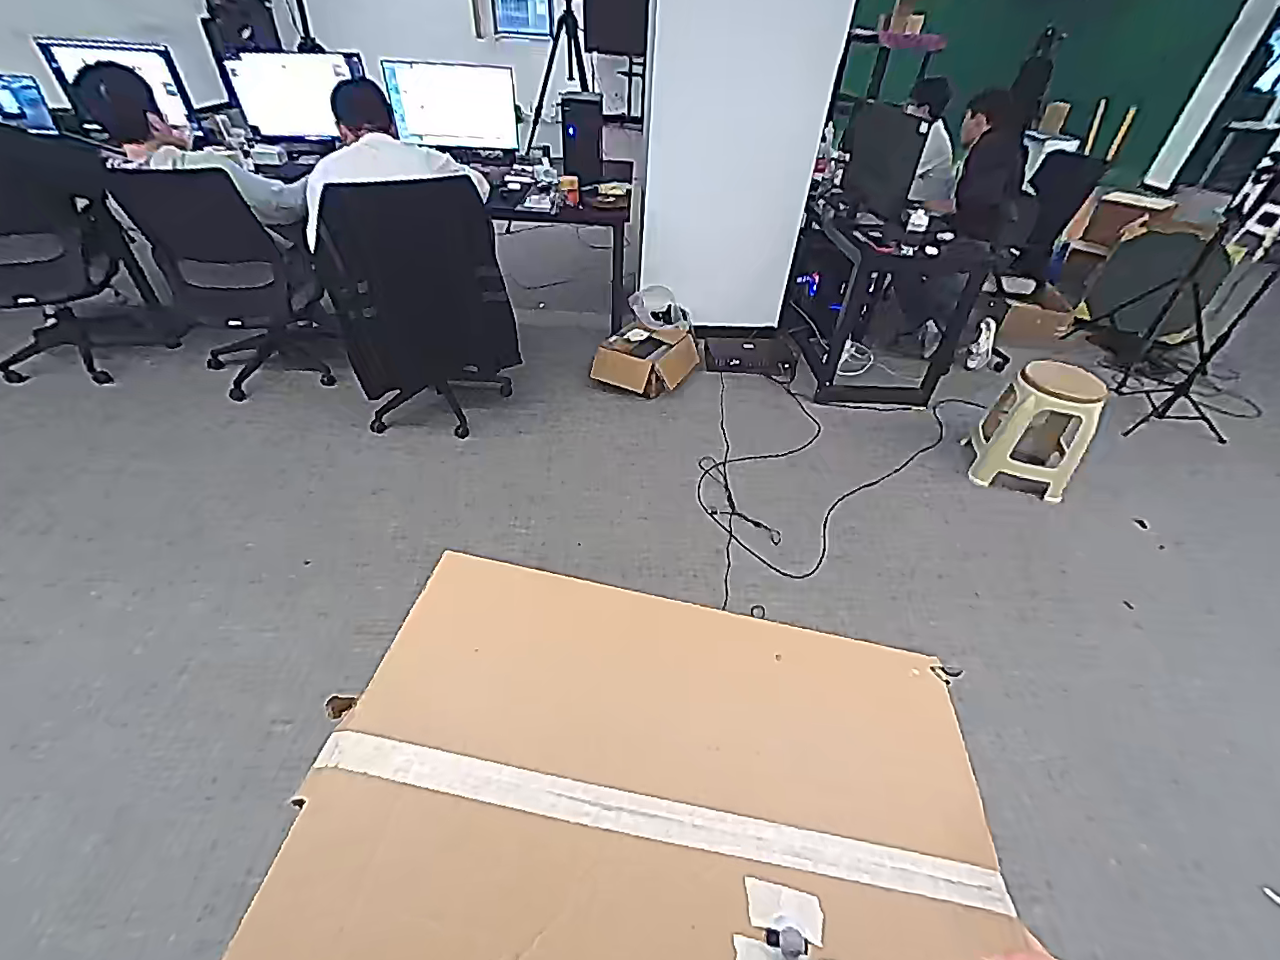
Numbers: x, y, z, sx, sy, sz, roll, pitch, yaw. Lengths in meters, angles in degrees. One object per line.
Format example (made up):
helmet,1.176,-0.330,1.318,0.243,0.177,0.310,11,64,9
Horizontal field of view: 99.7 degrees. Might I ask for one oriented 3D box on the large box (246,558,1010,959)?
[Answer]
large box,-0.006,0.311,0.431,0.408,0.320,0.320,13,43,0
